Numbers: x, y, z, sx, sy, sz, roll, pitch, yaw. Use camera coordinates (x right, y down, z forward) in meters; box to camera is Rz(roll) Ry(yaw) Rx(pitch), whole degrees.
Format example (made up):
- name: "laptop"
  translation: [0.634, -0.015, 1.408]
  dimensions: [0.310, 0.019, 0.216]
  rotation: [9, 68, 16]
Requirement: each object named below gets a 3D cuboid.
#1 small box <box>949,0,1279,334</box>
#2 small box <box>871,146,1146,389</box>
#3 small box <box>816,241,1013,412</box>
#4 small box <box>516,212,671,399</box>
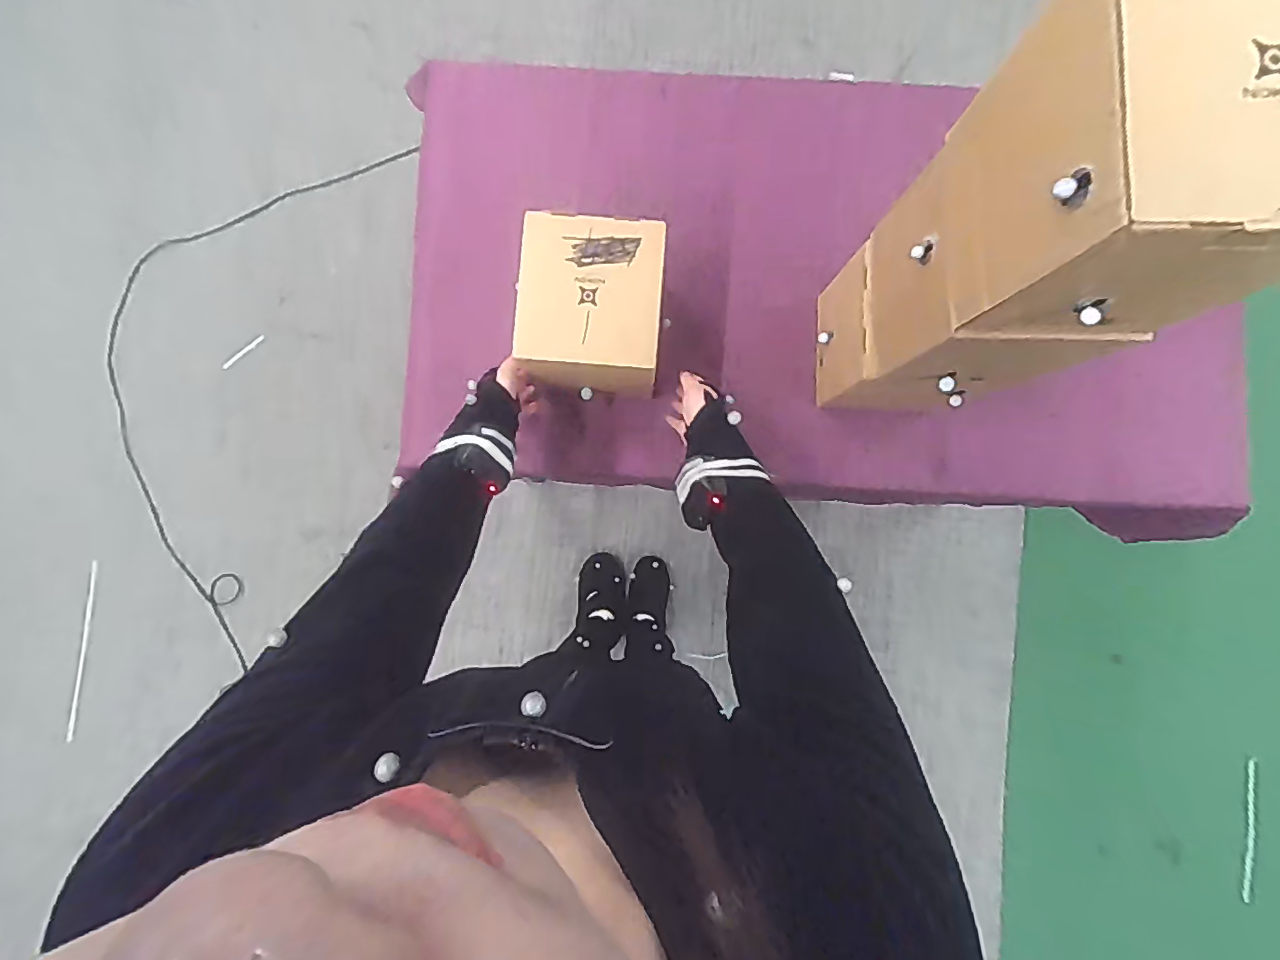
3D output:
- name: "small box"
  translation: [0.340, -0.213, 0.374]
  dimensions: [0.168, 0.176, 0.179]
  rotation: [0, 88, 1]
- name: "small box"
  translation: [0.343, -0.197, 0.536]
  dimensions: [0.168, 0.176, 0.179]
  rotation: [2, 87, 1]
- name: "small box"
  translation: [0.344, -0.185, 0.698]
  dimensions: [0.179, 0.176, 0.168]
  rotation: [3, 86, 0]
- name: "small box"
  translation: [-0.054, -0.213, 0.701]
  dimensions: [0.168, 0.176, 0.179]
  rotation: [5, 87, 0]
